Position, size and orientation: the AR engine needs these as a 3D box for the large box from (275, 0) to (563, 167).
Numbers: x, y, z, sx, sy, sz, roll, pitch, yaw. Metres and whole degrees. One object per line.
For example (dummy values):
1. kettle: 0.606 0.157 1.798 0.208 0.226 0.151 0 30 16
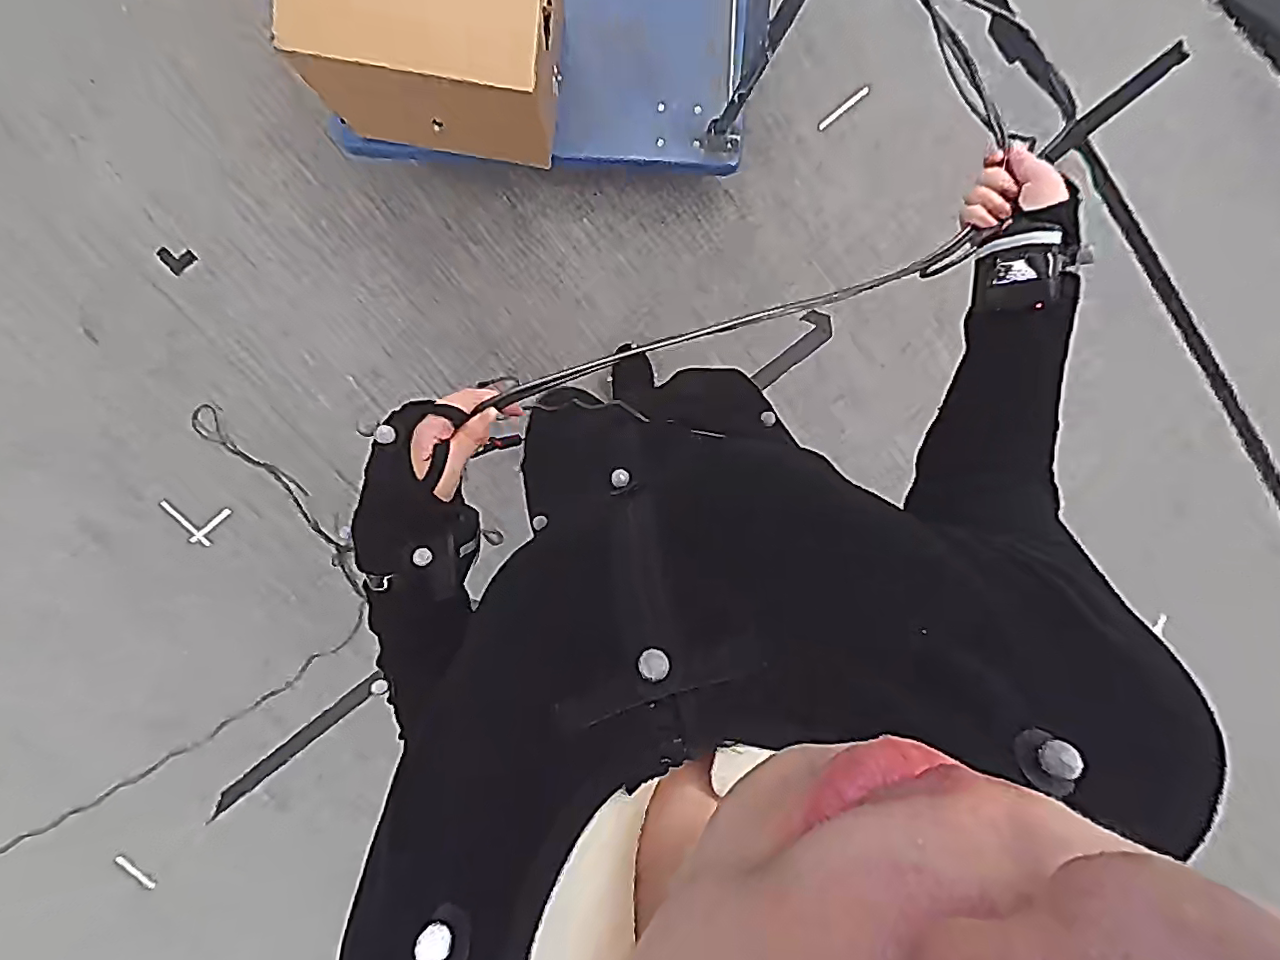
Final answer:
1. large box: -0.359 -0.809 0.976 0.408 0.320 0.320 6 98 -5
